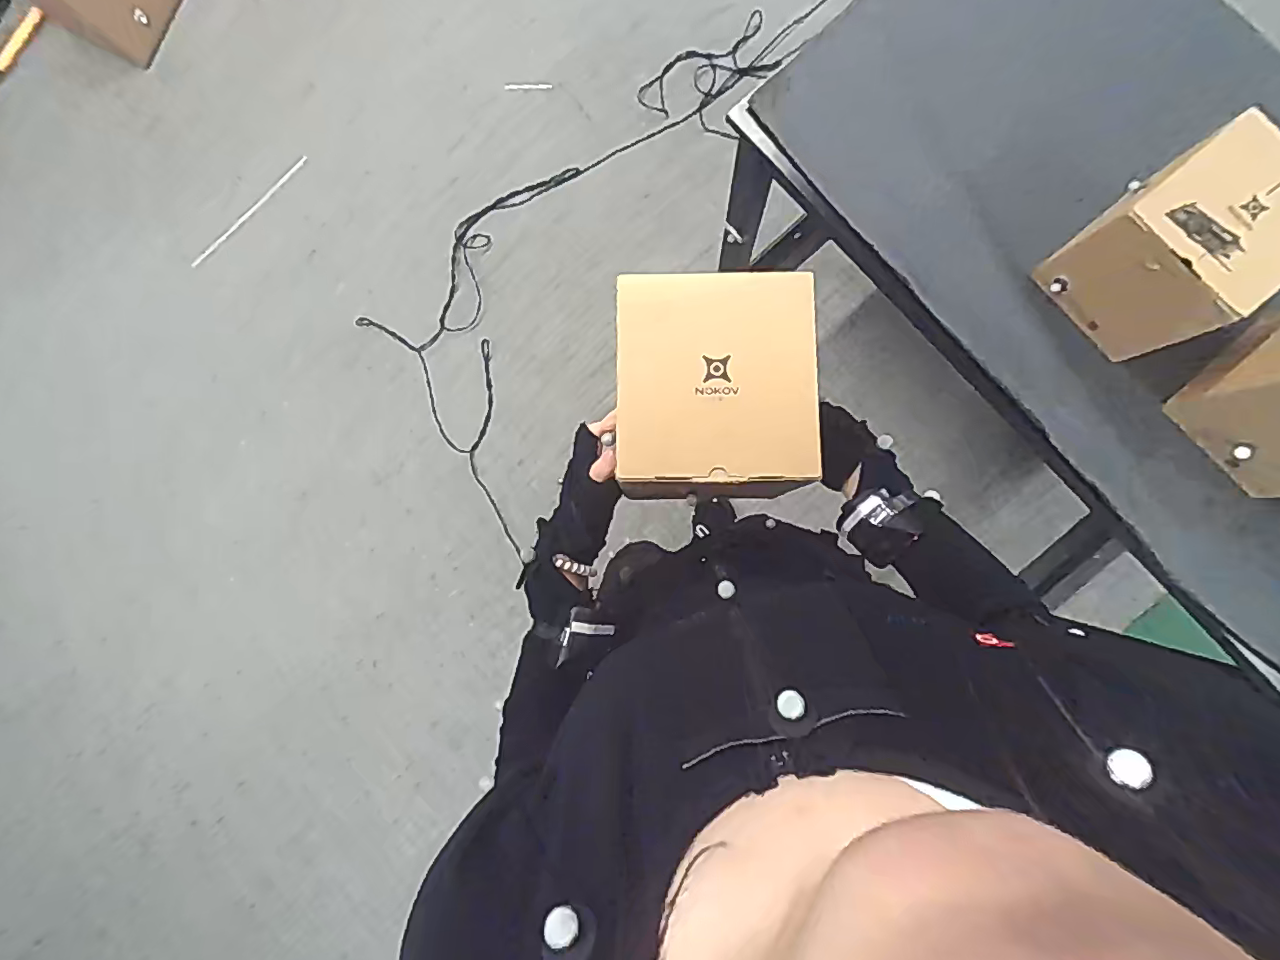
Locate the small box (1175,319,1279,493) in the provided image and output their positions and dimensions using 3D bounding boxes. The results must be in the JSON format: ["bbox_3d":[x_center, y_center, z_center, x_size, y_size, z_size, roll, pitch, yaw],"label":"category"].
[{"bbox_3d":[0.811,-0.100,0.631,0.179,0.176,0.168,-42,84,1],"label":"small box"}]

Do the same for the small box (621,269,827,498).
[{"bbox_3d":[0.066,-0.078,0.516,0.168,0.176,0.179,-1,84,1],"label":"small box"}]

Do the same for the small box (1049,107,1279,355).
[{"bbox_3d":[0.650,-0.280,0.653,0.179,0.176,0.168,-40,85,0],"label":"small box"}]
